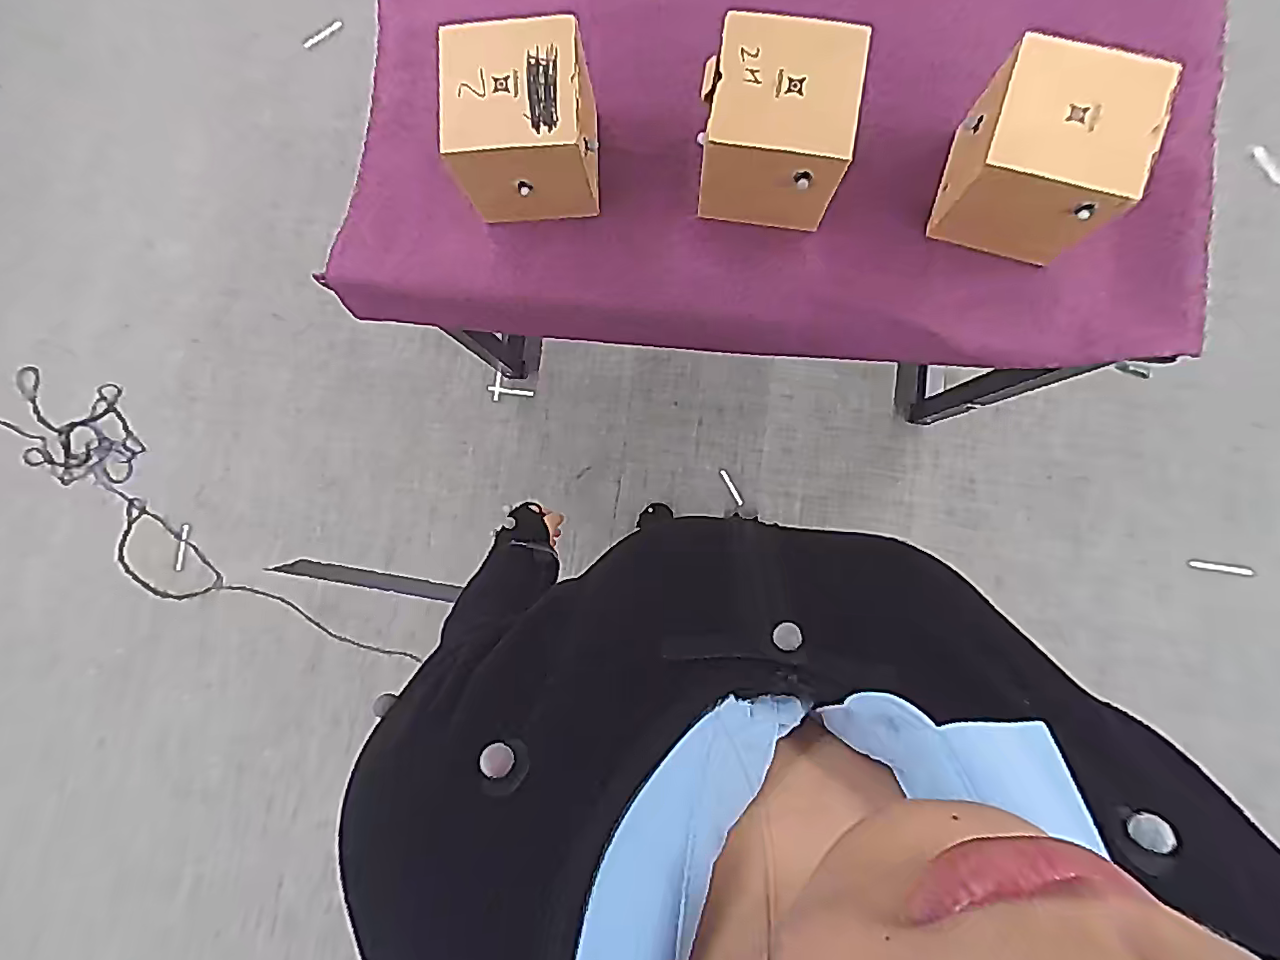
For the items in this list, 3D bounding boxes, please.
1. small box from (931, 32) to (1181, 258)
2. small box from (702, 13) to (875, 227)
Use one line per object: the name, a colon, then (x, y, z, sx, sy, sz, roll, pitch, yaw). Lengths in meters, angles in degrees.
small box: (0.509, -0.411, 0.691, 0.179, 0.176, 0.168, 17, 88, 5)
small box: (0.184, -0.461, 0.718, 0.179, 0.176, 0.168, 9, 87, 5)
